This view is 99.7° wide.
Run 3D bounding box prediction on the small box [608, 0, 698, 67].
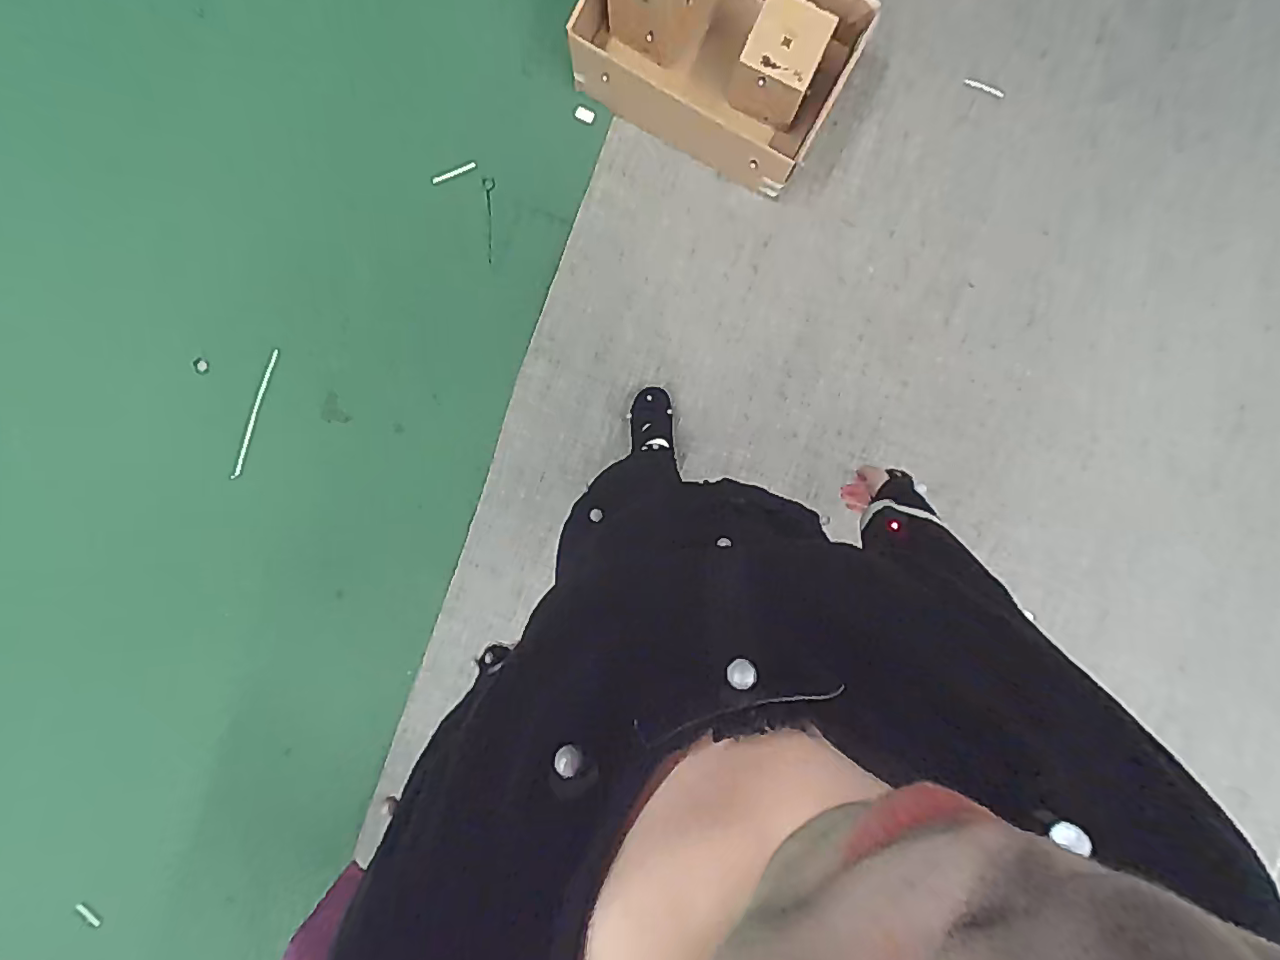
[{"bbox_3d":[0.036,-1.131,1.267,0.168,0.176,0.179,30,94,-3],"label":"small box"}]
